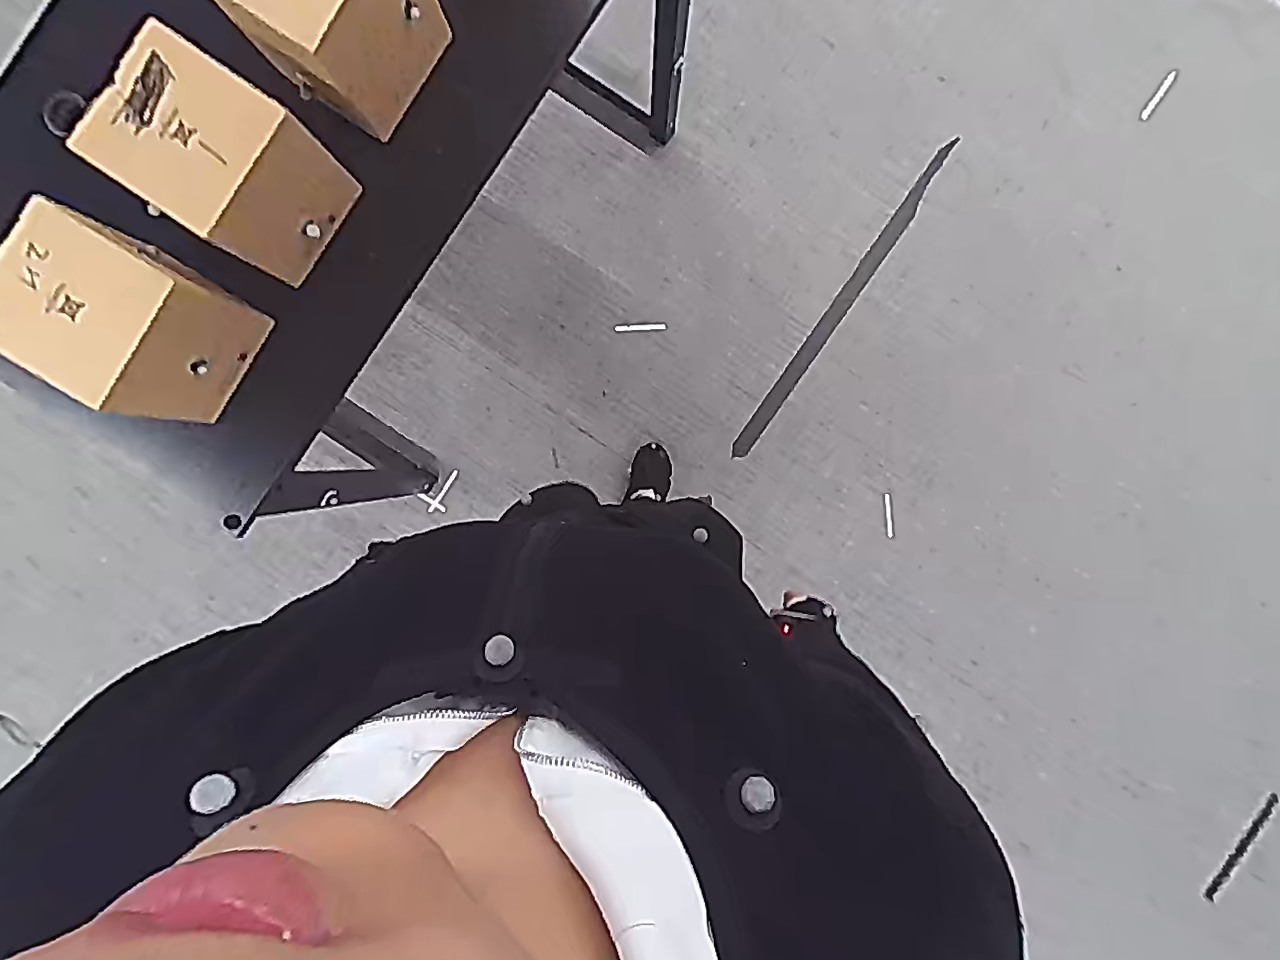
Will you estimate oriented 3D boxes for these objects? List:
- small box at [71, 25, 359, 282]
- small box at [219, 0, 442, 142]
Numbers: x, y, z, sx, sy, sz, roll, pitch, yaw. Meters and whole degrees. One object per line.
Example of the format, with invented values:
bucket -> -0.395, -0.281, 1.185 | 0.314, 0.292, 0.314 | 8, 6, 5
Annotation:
small box -> -0.492, -0.373, 0.656 | 0.179, 0.176, 0.168 | 34, 91, -2
small box -> -0.367, -0.568, 0.654 | 0.168, 0.176, 0.179 | 34, 92, -1
